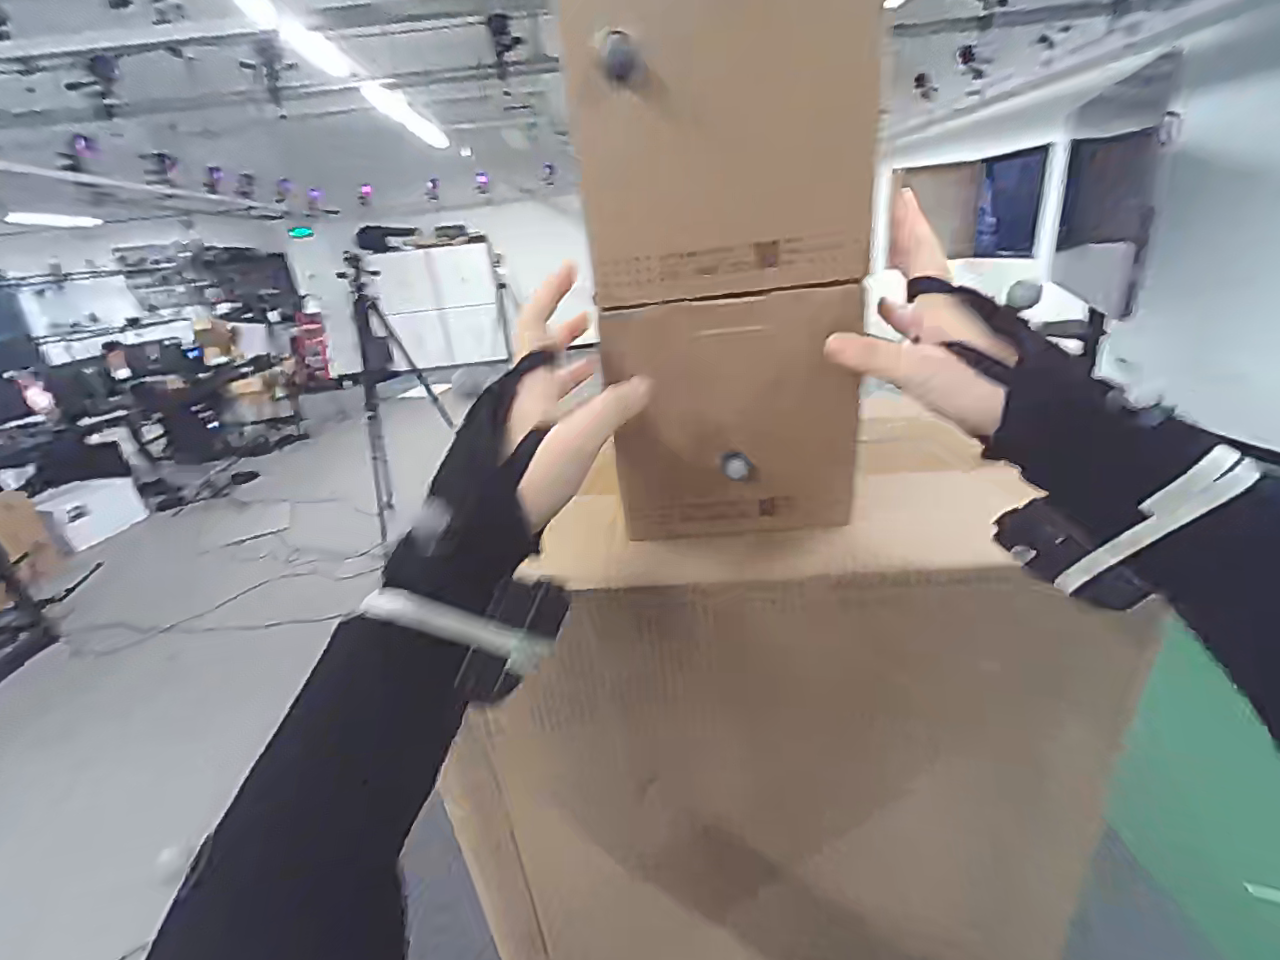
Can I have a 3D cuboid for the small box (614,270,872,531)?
[{"bbox_3d":[0.074,-0.073,0.449,0.168,0.176,0.179,-4,26,4],"label":"small box"}]
